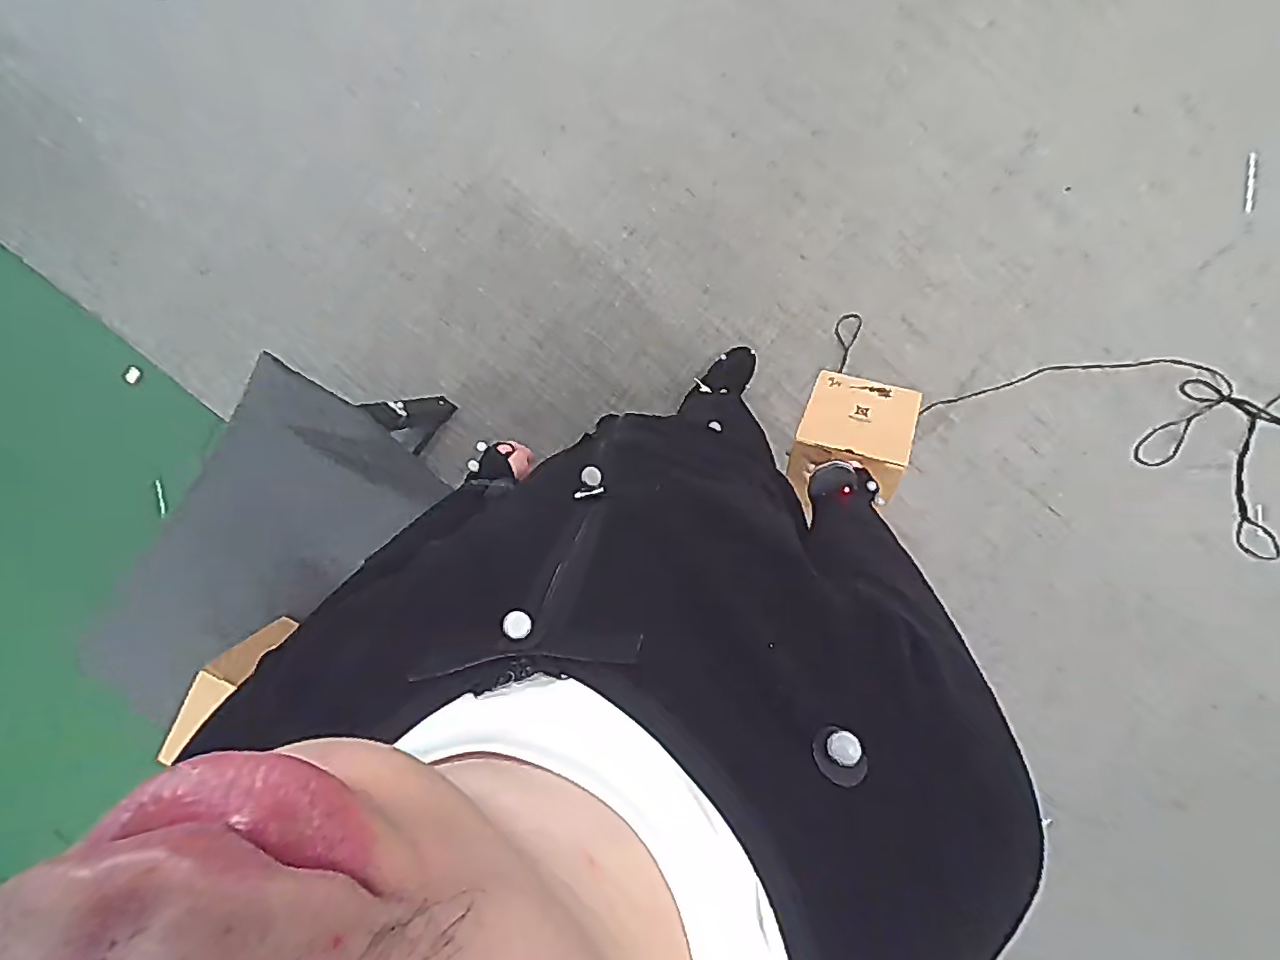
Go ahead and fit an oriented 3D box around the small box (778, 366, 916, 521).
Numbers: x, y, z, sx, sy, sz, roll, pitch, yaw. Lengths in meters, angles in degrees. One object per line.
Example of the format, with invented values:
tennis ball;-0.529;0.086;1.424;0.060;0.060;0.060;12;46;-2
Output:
small box;0.340;-0.058;0.913;0.168;0.179;0.176;19;145;17

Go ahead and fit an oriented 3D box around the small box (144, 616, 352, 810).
small box;-0.580;0.341;0.826;0.168;0.176;0.179;31;101;-3
